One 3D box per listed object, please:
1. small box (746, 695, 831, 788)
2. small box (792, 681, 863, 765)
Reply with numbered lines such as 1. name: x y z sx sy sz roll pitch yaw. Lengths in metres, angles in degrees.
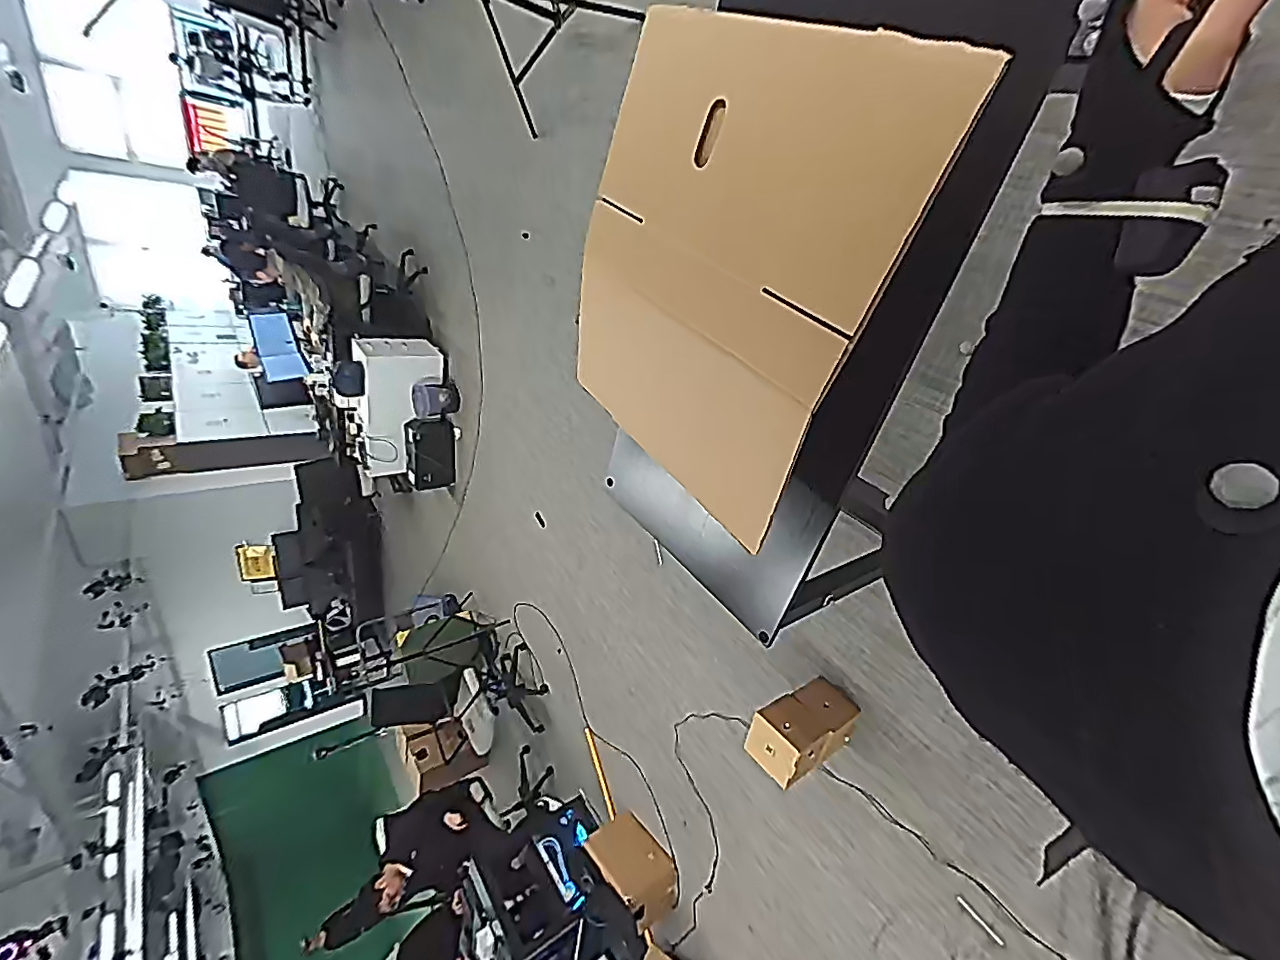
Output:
1. small box: 0.473 0.819 1.714 0.179 0.176 0.168 35 124 44
2. small box: 0.605 0.799 1.808 0.179 0.176 0.168 37 126 41
